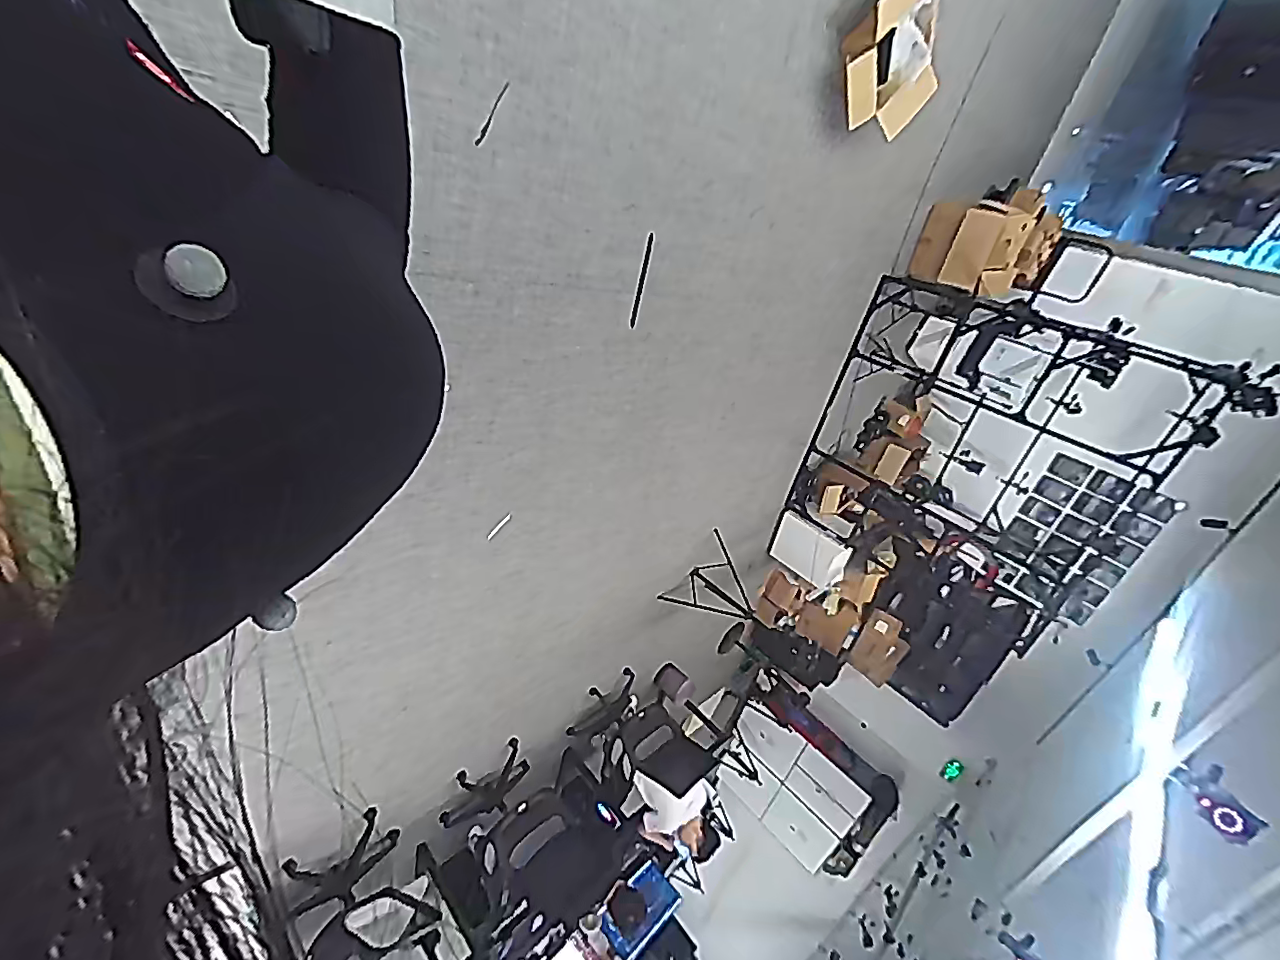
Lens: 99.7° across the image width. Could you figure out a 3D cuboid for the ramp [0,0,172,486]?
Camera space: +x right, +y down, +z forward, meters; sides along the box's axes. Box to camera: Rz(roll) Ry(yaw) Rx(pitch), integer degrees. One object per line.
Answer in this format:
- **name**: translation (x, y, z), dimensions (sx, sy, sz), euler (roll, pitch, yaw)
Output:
- **ramp**: translation (-1.243, -0.377, 1.010), dimensions (0.509, 0.206, 0.991), euler (-19, 133, -45)
